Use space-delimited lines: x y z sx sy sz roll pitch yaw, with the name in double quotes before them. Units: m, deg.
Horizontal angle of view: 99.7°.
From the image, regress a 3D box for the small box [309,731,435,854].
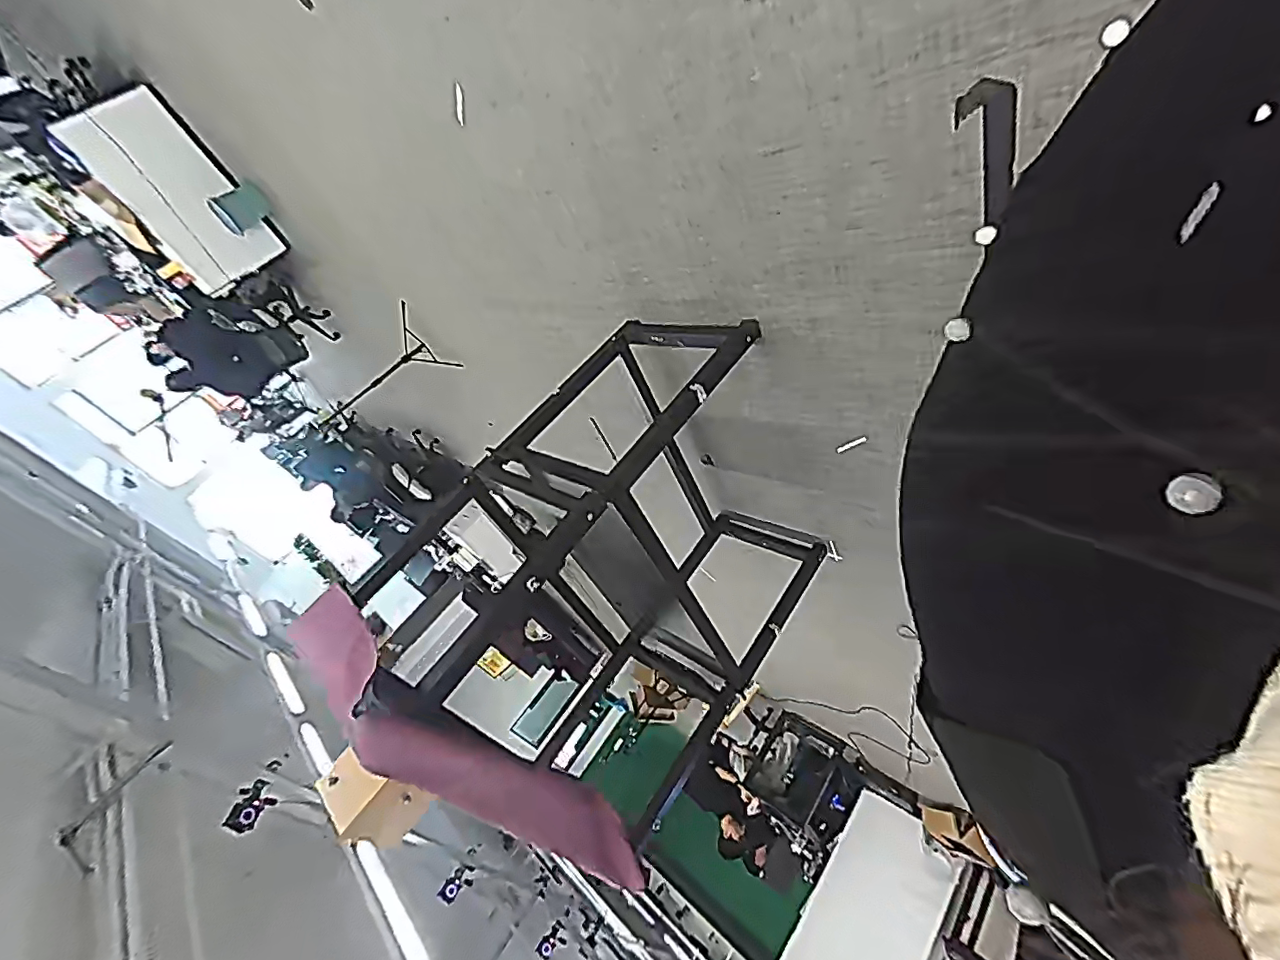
"small box" -0.613 0.711 1.252 0.179 0.176 0.168 20 151 41
